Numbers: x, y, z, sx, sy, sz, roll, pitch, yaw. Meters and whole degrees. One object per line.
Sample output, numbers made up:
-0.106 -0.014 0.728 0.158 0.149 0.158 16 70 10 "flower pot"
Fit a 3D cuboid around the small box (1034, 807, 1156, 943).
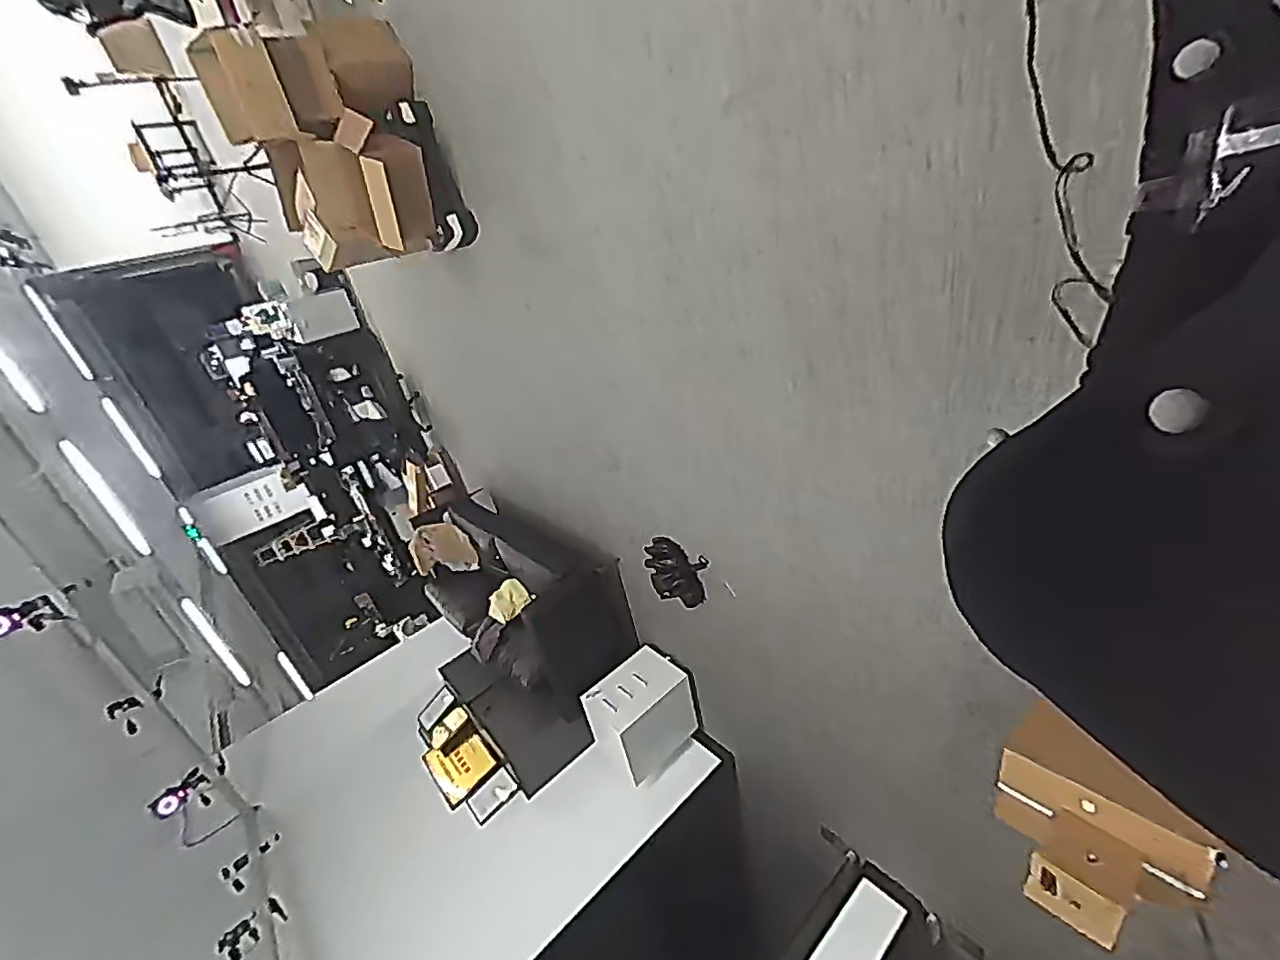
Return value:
1.093 0.934 1.304 0.179 0.176 0.168 18 125 50 "small box"
